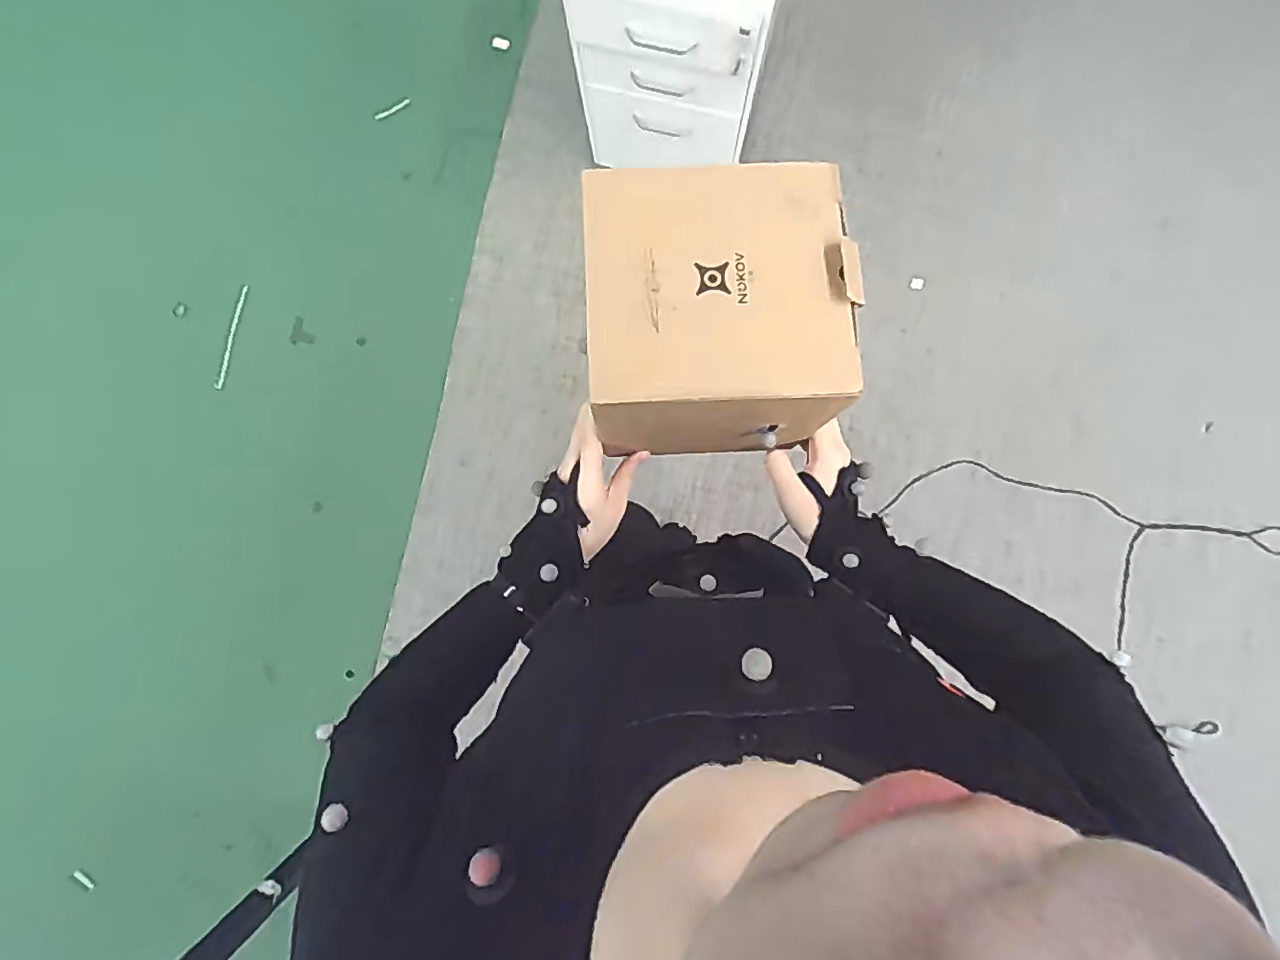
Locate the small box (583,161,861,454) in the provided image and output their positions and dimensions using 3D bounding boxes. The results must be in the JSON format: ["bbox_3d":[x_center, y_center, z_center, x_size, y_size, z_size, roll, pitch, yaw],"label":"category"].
[{"bbox_3d":[0.051,-0.119,0.431,0.179,0.176,0.168,-3,80,0],"label":"small box"}]
